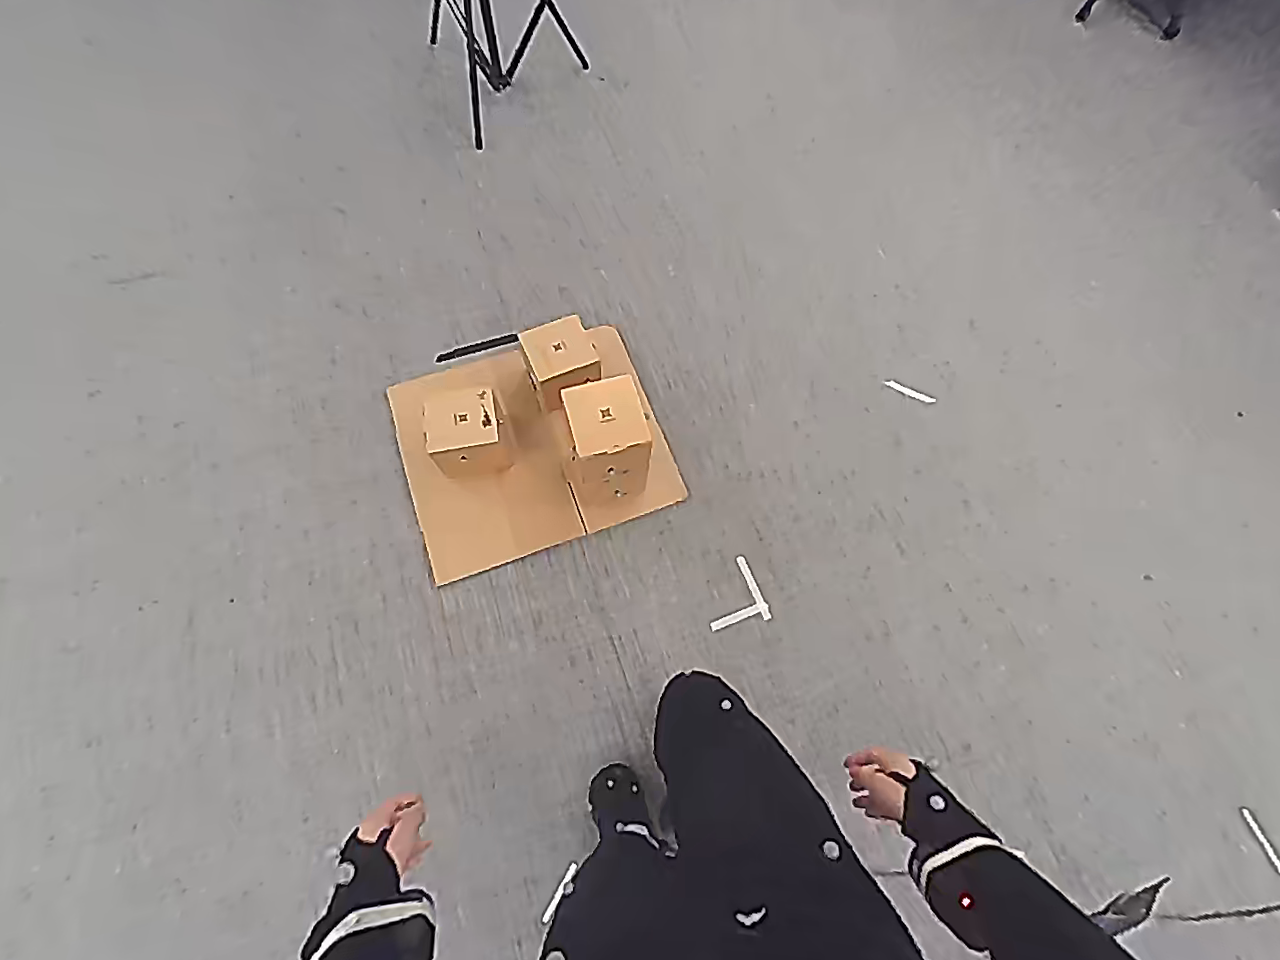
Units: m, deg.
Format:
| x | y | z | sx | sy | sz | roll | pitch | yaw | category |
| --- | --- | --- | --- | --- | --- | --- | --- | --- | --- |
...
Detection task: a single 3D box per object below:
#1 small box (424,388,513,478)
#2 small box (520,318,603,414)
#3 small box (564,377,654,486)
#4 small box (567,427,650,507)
| x | y | z | sx | sy | sz | roll | pitch | yaw | category |
| --- | --- | --- | --- | --- | --- | --- | --- | --- | --- |
| -0.445 | -0.116 | 1.415 | 0.179 | 0.176 | 0.168 | -11 | 70 | -5 | small box |
| -0.215 | -0.313 | 1.504 | 0.179 | 0.176 | 0.168 | -23 | 71 | -11 | small box |
| -0.075 | -0.108 | 1.257 | 0.168 | 0.176 | 0.179 | -15 | 72 | -8 | small box |
| -0.084 | -0.051 | 1.409 | 0.168 | 0.176 | 0.179 | -19 | 72 | -9 | small box |
